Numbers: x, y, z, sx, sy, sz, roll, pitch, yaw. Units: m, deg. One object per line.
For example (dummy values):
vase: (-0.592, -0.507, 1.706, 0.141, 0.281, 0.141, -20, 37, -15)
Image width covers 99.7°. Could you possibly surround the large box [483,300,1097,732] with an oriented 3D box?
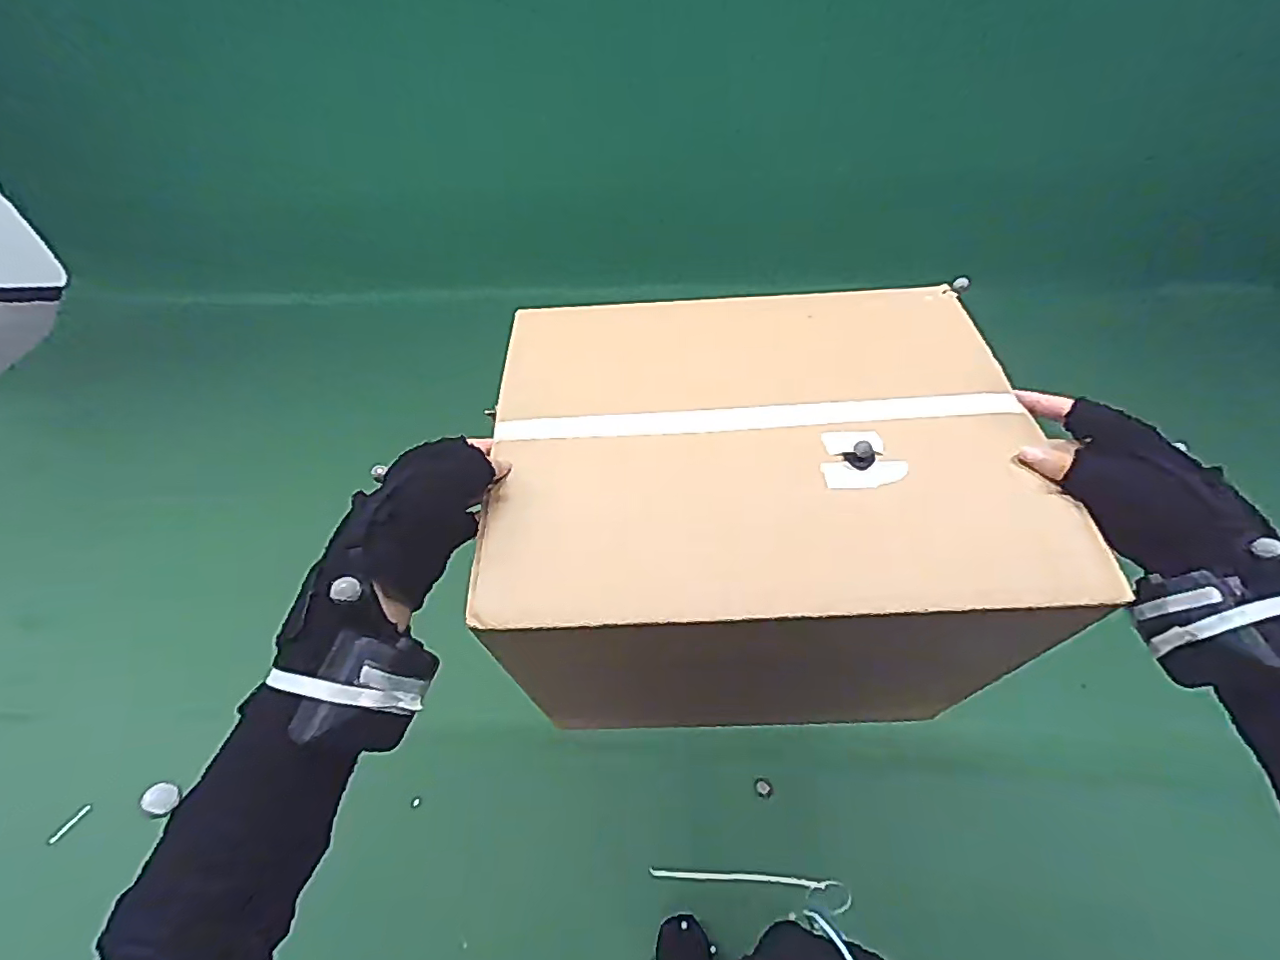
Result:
large box: (0.096, 0.051, 0.552, 0.408, 0.320, 0.320, -3, 54, 2)
